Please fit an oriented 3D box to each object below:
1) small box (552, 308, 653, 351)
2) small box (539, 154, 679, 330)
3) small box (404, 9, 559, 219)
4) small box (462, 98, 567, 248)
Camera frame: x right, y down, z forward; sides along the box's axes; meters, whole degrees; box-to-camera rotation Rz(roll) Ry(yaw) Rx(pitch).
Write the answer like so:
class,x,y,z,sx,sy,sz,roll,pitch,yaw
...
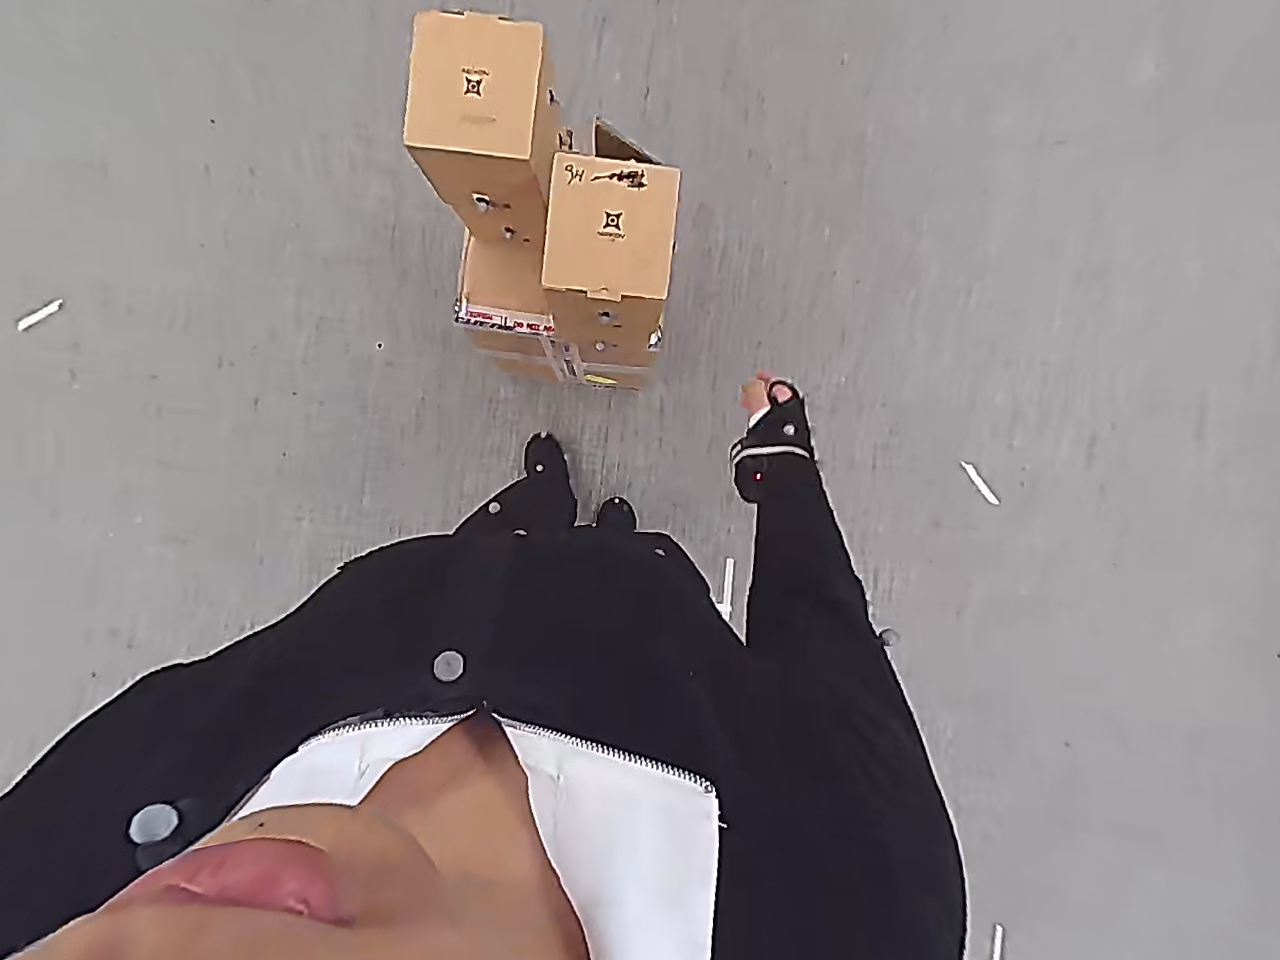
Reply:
class,x,y,z,sx,sy,sz,roll,pitch,yaw
small box,-0.057,-0.335,0.938,0.168,0.176,0.179,5,92,-3
small box,-0.043,-0.325,0.775,0.168,0.176,0.179,6,92,-3
small box,-0.211,-0.502,0.765,0.168,0.176,0.179,6,92,-1
small box,-0.219,-0.526,0.927,0.168,0.176,0.179,6,92,-1
